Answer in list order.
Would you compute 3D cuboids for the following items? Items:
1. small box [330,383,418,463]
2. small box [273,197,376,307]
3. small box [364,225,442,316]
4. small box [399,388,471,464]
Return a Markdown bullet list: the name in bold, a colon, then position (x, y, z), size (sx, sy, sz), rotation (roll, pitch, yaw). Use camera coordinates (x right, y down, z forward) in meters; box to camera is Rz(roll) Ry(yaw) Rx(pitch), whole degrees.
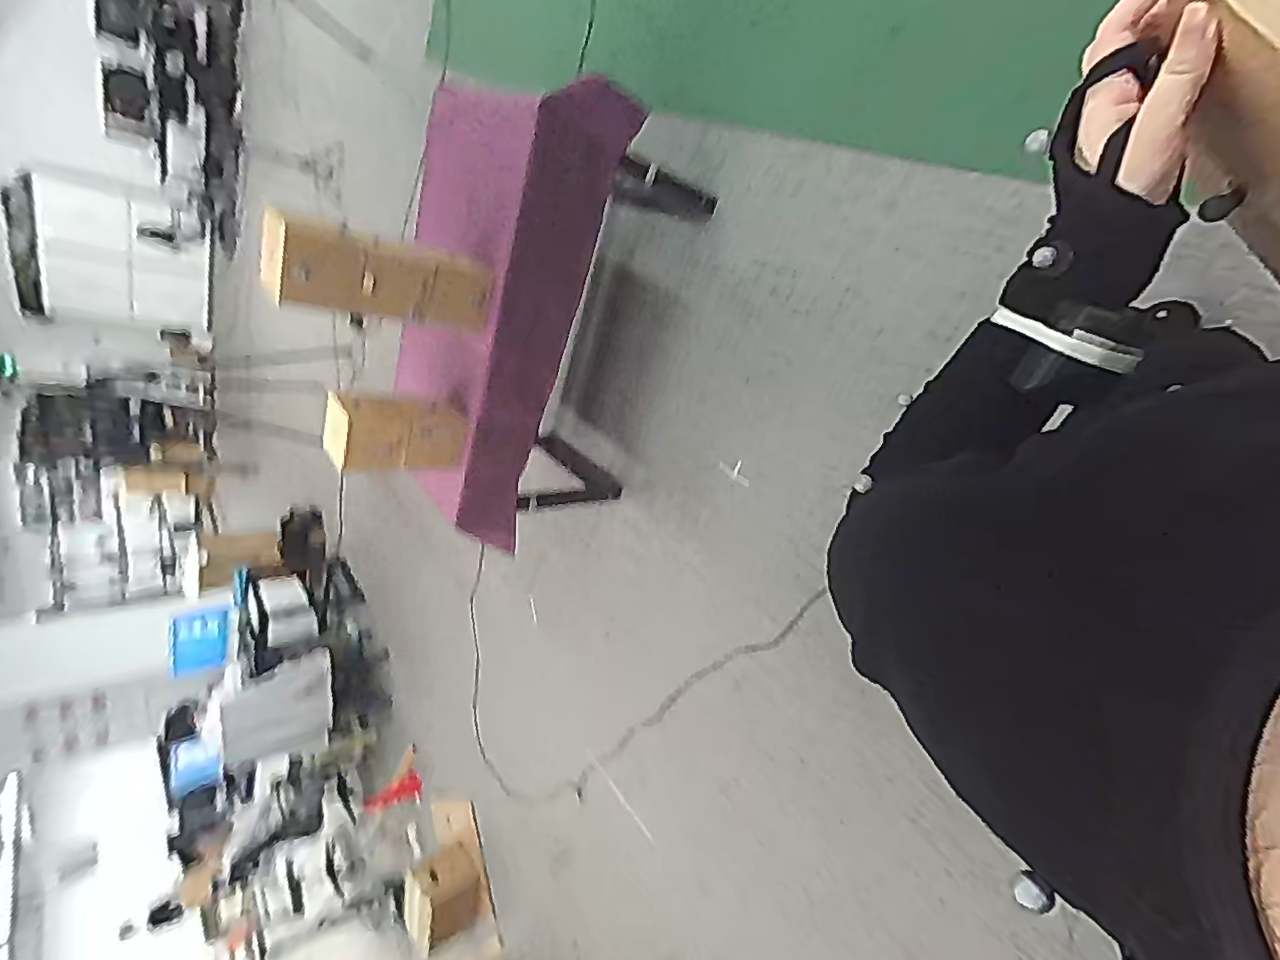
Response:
- **small box**: position (-0.757, -0.160, 1.542), size (0.179, 0.176, 0.168), rotation (40, 119, 35)
- **small box**: position (-0.739, -0.525, 1.266), size (0.168, 0.176, 0.179), rotation (43, 121, 33)
- **small box**: position (-0.628, -0.534, 1.386), size (0.179, 0.176, 0.168), rotation (43, 121, 35)
- **small box**: position (-0.636, -0.164, 1.651), size (0.168, 0.176, 0.179), rotation (40, 119, 37)
